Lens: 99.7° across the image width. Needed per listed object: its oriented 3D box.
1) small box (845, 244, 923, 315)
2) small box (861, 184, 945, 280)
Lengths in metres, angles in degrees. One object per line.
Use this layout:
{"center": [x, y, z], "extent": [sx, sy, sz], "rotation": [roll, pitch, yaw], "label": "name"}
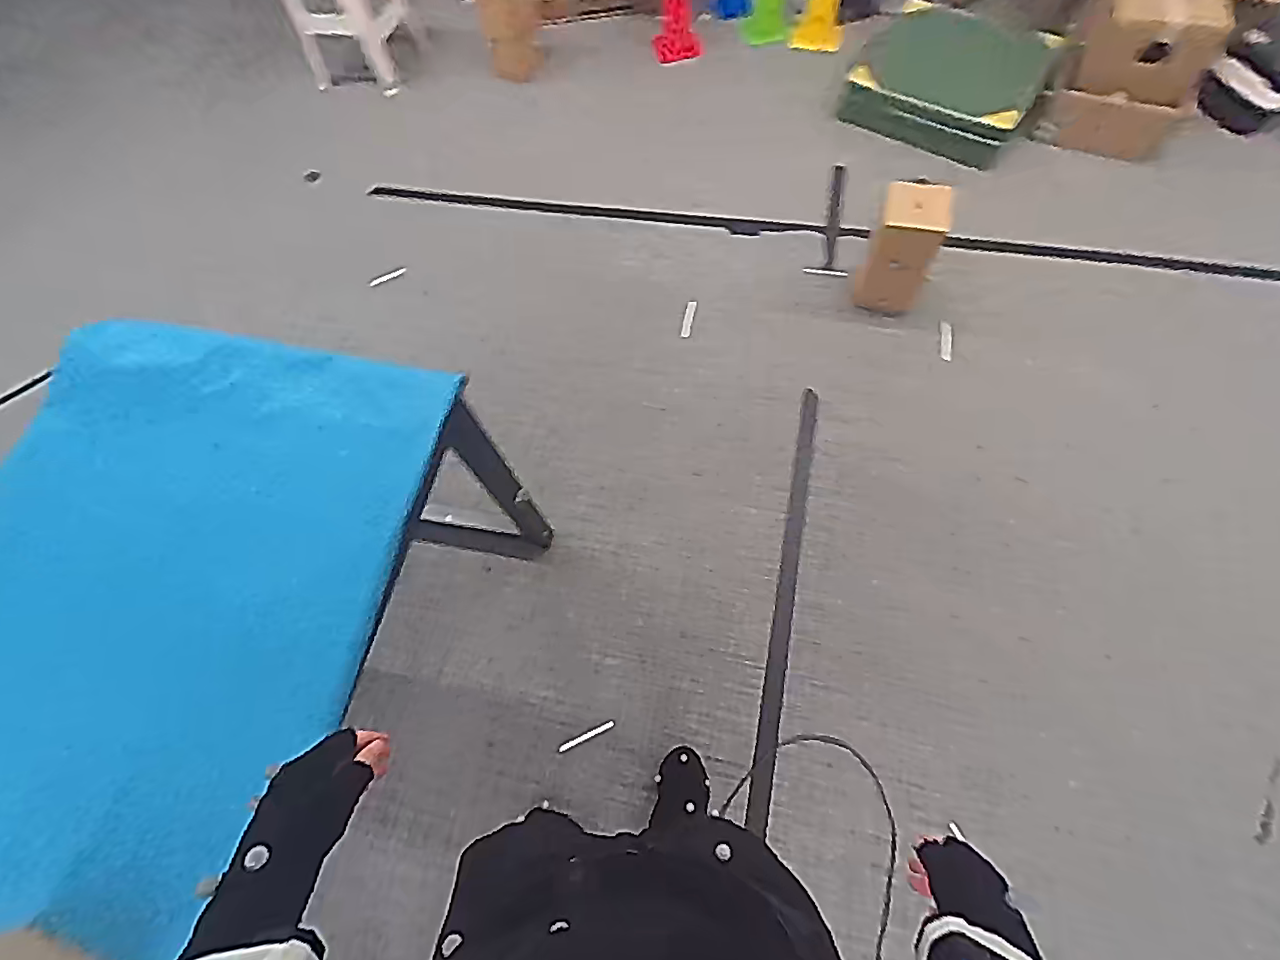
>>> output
{"center": [0.769, -0.647, 1.704], "extent": [0.179, 0.176, 0.168], "rotation": [14, 67, 8], "label": "small box"}
{"center": [0.751, -0.710, 1.555], "extent": [0.168, 0.176, 0.179], "rotation": [13, 69, 10], "label": "small box"}
